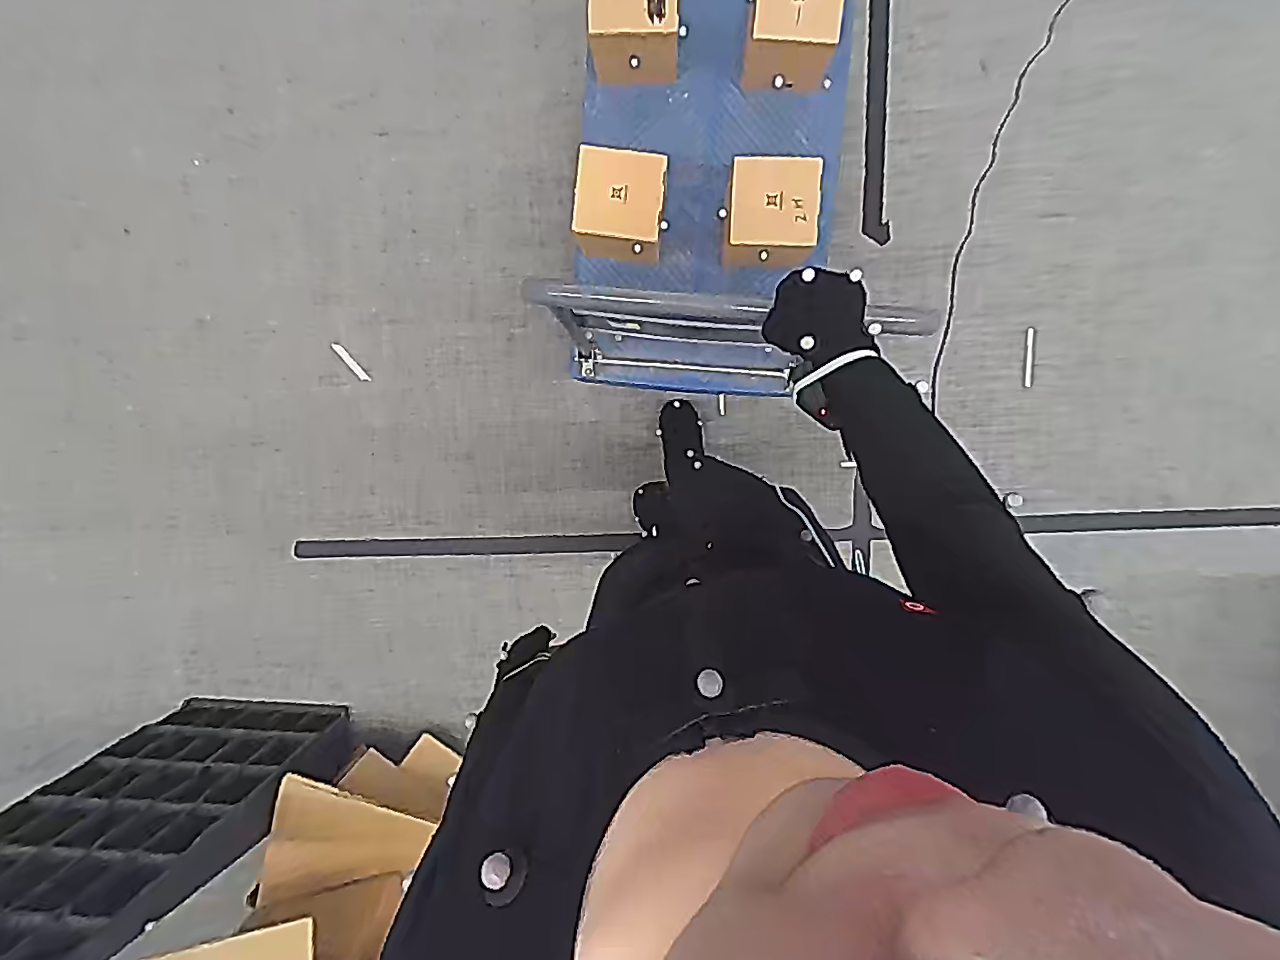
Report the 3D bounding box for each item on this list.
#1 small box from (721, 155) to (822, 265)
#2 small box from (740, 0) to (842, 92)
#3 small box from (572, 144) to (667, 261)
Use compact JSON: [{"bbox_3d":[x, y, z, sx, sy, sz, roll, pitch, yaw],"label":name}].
[{"bbox_3d":[0.268,-0.561,1.143,0.179,0.176,0.168,2,97,2],"label":"small box"},{"bbox_3d":[0.303,-0.934,1.095,0.168,0.176,0.179,5,98,1],"label":"small box"},{"bbox_3d":[-0.041,-0.580,1.151,0.179,0.176,0.168,7,97,-1],"label":"small box"}]
